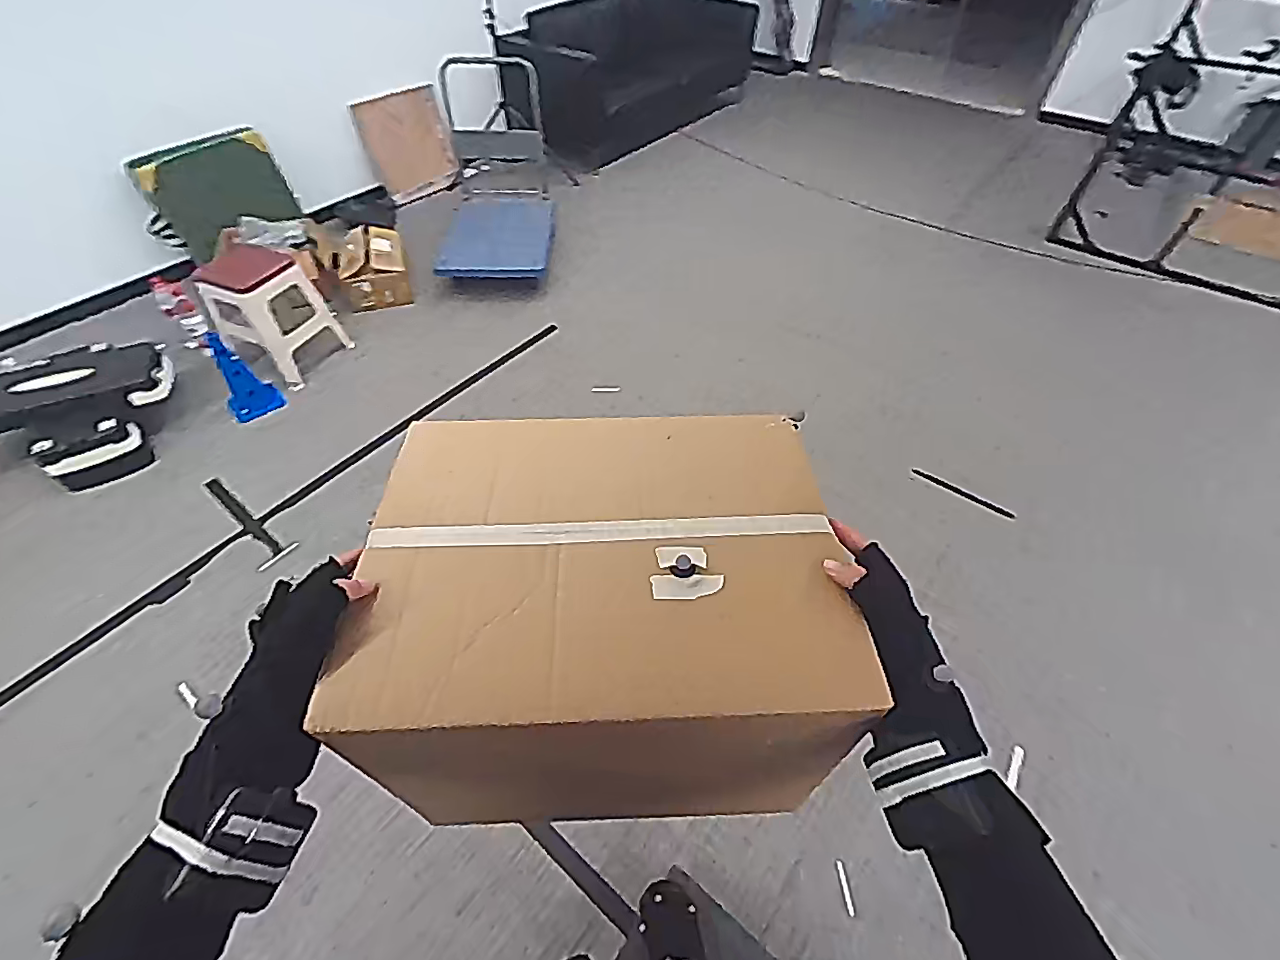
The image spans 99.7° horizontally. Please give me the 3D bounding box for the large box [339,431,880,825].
[{"bbox_3d":[-0.028,0.163,0.599,0.408,0.320,0.320,-1,47,-2],"label":"large box"}]
